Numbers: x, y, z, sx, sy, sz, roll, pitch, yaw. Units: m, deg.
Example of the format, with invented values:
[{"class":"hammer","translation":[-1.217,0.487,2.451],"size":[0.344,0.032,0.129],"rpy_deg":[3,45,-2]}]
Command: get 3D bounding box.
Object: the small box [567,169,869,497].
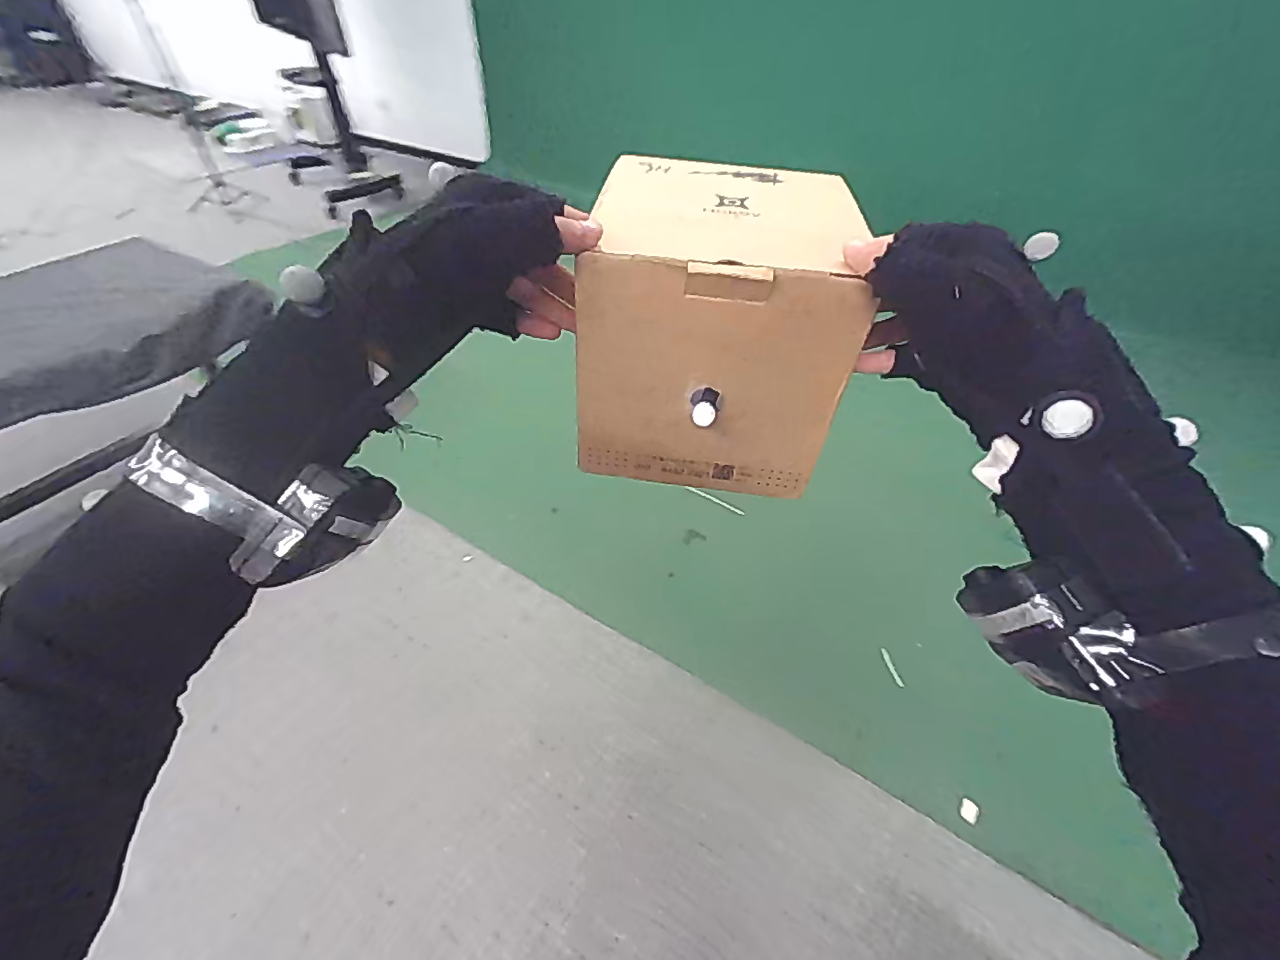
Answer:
[{"class":"small box","translation":[0.048,-0.108,0.403],"size":[0.168,0.176,0.179],"rpy_deg":[7,46,2]}]
